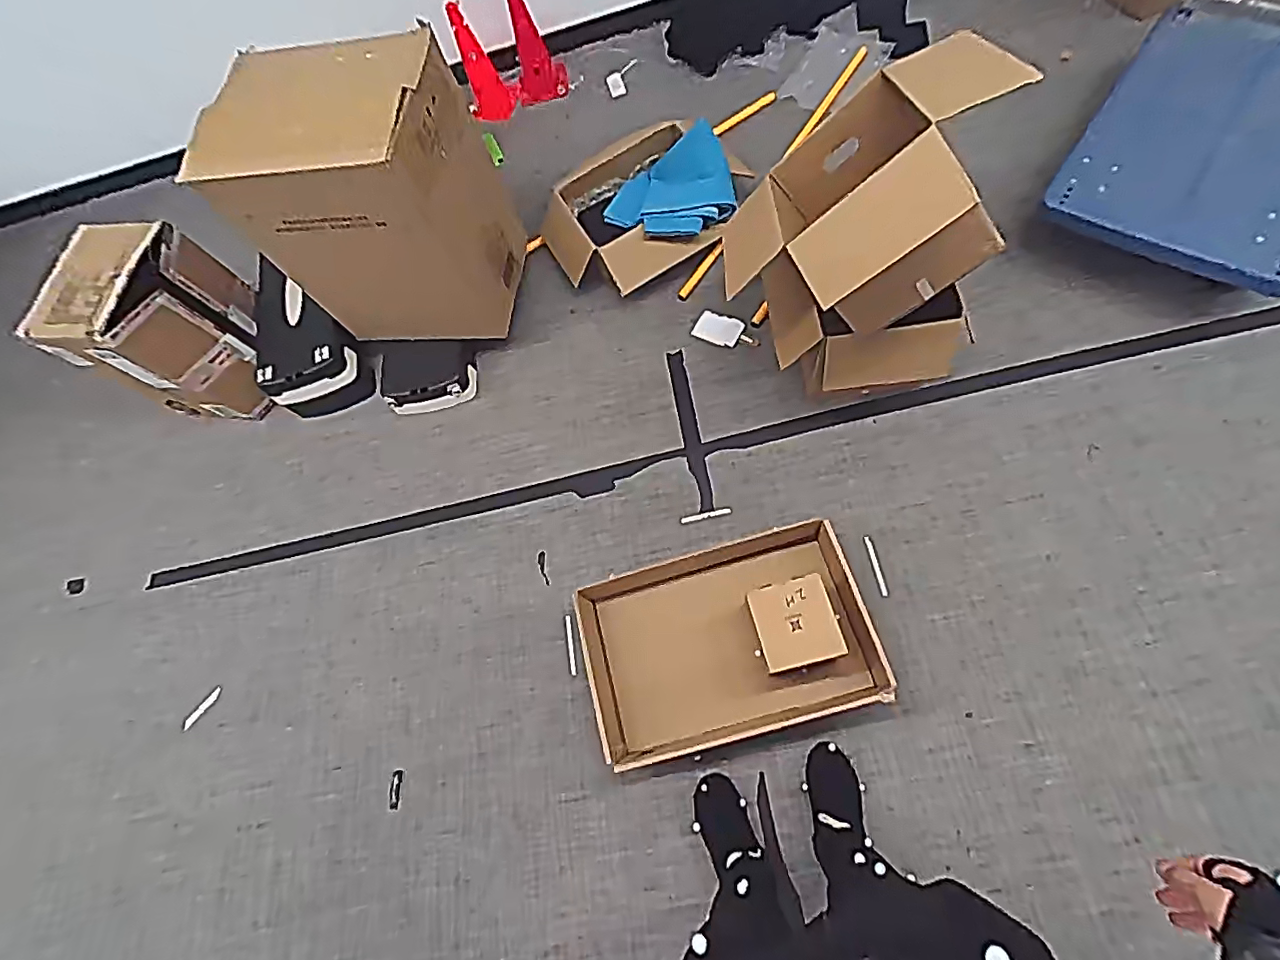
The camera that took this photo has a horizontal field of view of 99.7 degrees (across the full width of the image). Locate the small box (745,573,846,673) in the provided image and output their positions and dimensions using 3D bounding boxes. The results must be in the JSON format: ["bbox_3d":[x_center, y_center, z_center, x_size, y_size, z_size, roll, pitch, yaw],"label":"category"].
[{"bbox_3d":[0.340,0.326,1.211,0.168,0.176,0.179,-16,67,4],"label":"small box"}]
